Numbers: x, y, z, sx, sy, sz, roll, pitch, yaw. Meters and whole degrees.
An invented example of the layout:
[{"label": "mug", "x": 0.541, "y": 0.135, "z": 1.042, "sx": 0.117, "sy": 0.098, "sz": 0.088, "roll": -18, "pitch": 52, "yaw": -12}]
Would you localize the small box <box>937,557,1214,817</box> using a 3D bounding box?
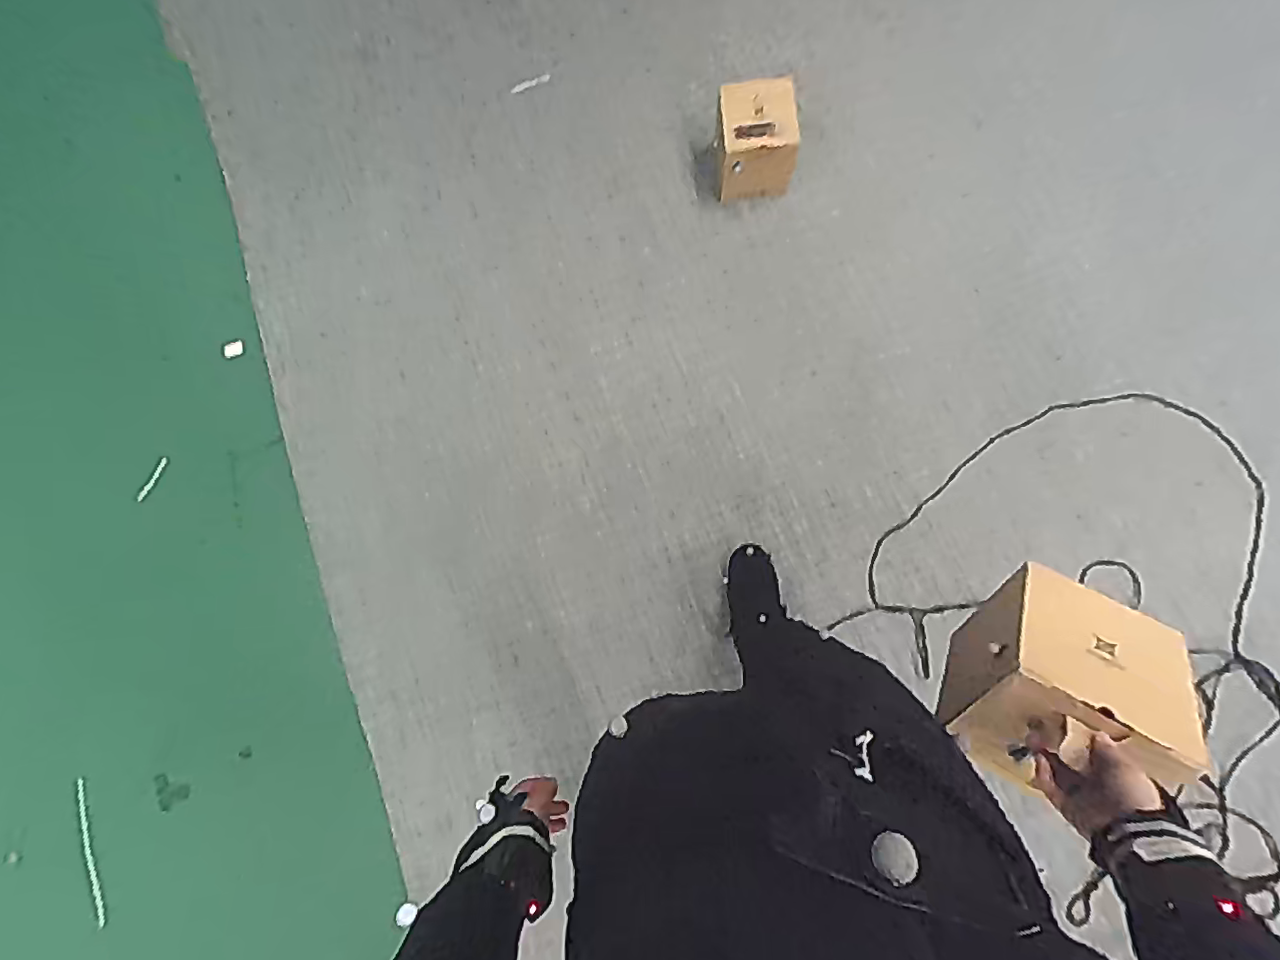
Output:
[{"label": "small box", "x": 0.462, "y": 0.228, "z": 0.604, "sx": 0.168, "sy": 0.176, "sz": 0.179, "roll": 29, "pitch": 45, "yaw": 17}]
